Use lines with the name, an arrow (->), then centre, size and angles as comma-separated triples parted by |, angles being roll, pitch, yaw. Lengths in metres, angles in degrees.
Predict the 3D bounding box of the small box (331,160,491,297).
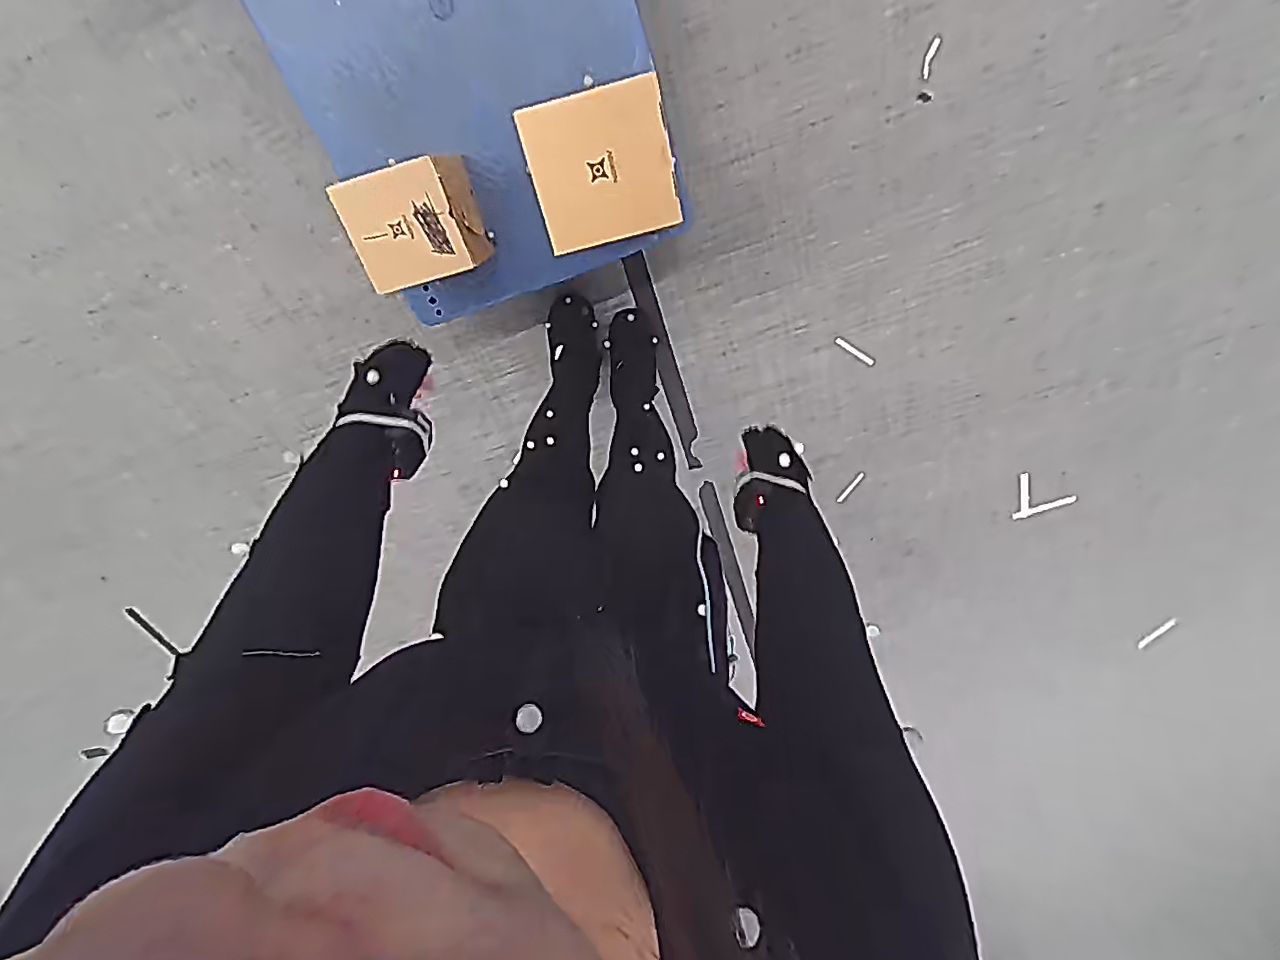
small box -> -0.368, -0.430, 0.915 | 0.179, 0.176, 0.168 | -13, 120, 7

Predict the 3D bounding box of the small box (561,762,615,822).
small box -> -0.206, 1.262, 2.171 | 0.179, 0.176, 0.168 | -14, 120, 7

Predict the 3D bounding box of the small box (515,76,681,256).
small box -> -0.048, -0.421, 0.739 | 0.179, 0.176, 0.168 | -13, 120, 5
